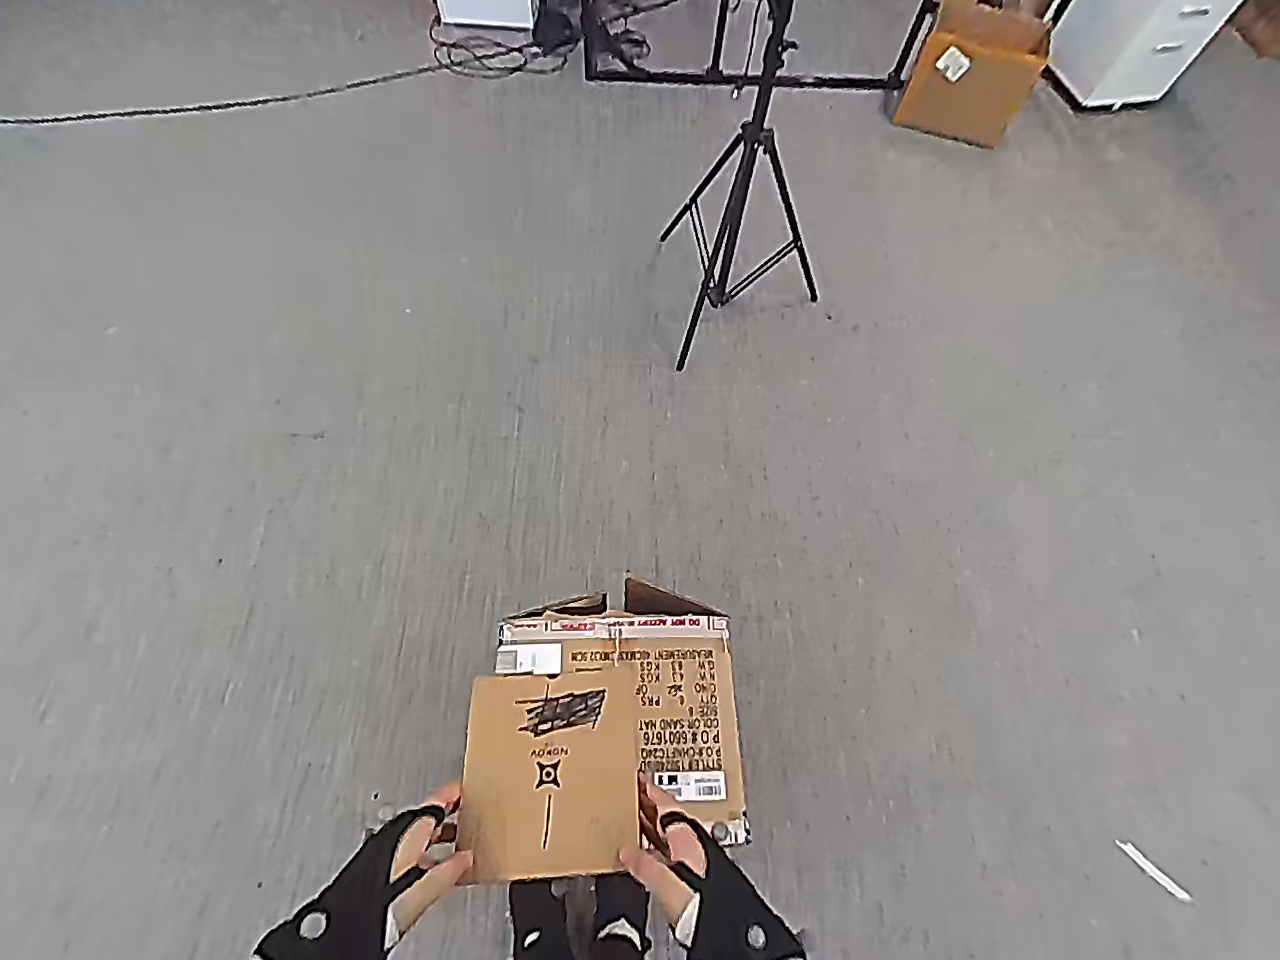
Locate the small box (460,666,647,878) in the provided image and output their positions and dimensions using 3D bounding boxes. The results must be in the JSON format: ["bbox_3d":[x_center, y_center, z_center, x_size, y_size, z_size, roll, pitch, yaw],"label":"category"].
[{"bbox_3d":[-0.080,0.316,0.584,0.168,0.176,0.179,-4,56,-1],"label":"small box"}]
